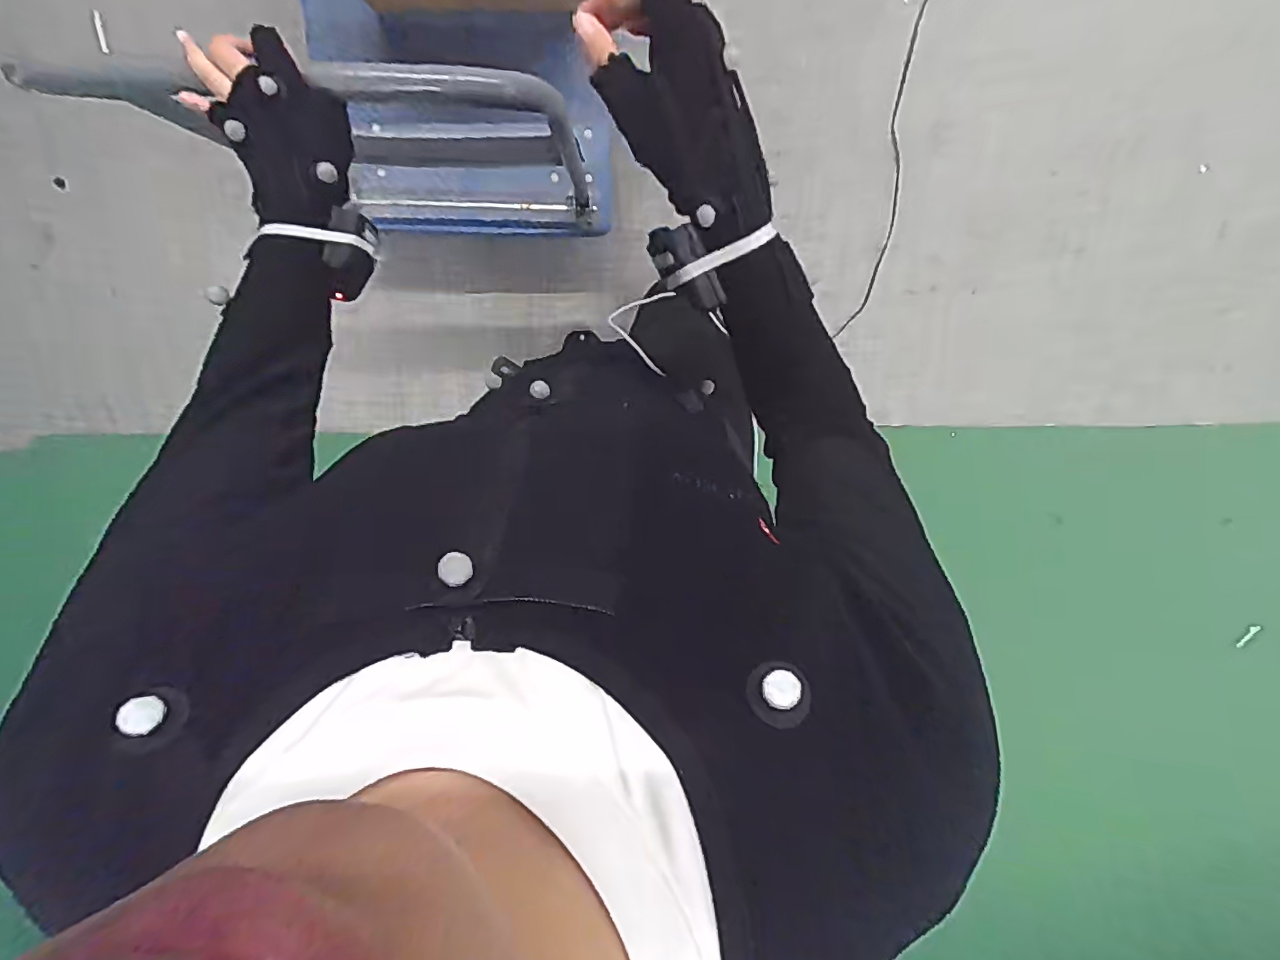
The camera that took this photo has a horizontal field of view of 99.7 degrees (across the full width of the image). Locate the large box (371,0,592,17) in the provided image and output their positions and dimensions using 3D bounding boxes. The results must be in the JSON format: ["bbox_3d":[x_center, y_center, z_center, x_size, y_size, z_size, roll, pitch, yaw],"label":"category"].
[{"bbox_3d":[-0.293,-0.975,0.834,0.408,0.320,0.320,0,108,1],"label":"large box"}]
